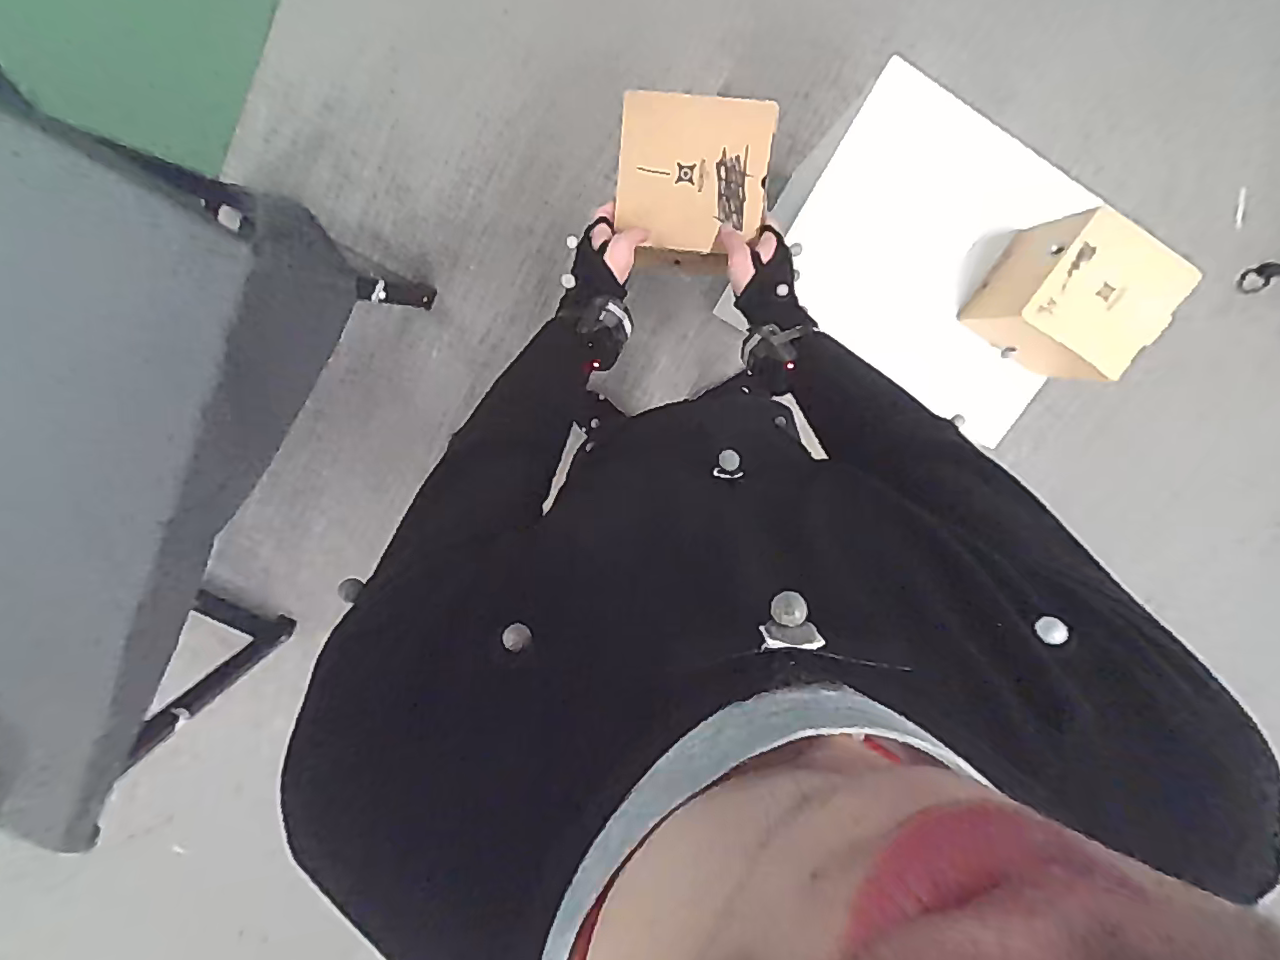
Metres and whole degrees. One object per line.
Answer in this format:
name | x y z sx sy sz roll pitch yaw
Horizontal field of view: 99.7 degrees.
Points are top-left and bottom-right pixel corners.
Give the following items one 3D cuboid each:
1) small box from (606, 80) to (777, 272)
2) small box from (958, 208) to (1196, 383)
small box | 0.058 -0.365 0.681 0.179 0.176 0.168 6 103 1
small box | 0.630 -0.266 0.804 0.179 0.176 0.168 31 102 -8
